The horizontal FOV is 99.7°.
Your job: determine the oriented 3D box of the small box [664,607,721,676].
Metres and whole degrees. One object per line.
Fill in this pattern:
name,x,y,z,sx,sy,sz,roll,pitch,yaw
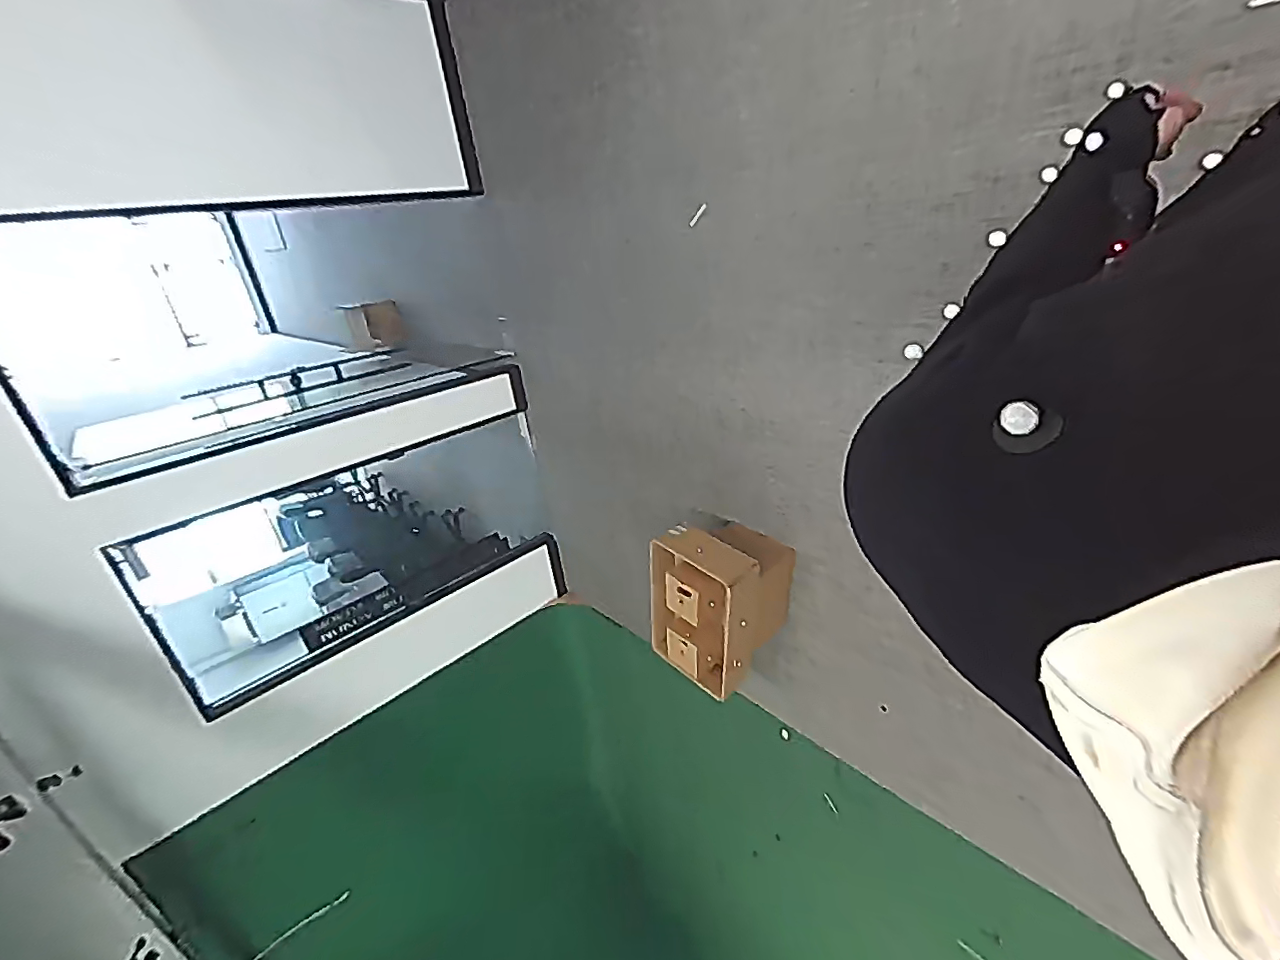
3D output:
small box,0.219,0.659,2.219,0.168,0.176,0.179,24,130,41
